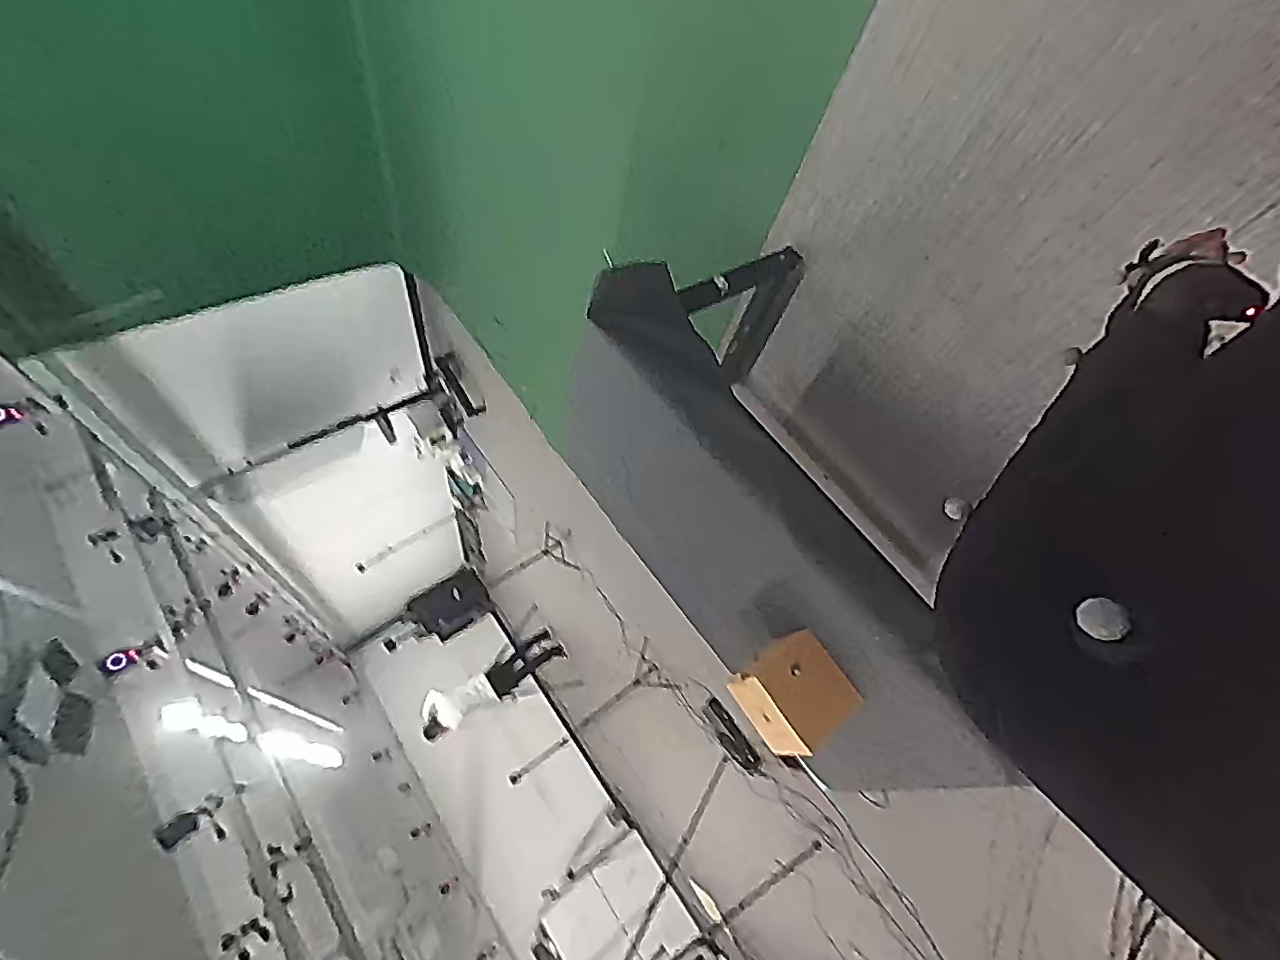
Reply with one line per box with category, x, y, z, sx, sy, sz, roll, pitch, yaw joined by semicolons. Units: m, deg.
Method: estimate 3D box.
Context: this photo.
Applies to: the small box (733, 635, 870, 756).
small box;0.334;0.445;1.132;0.179;0.176;0.168;52;154;13
